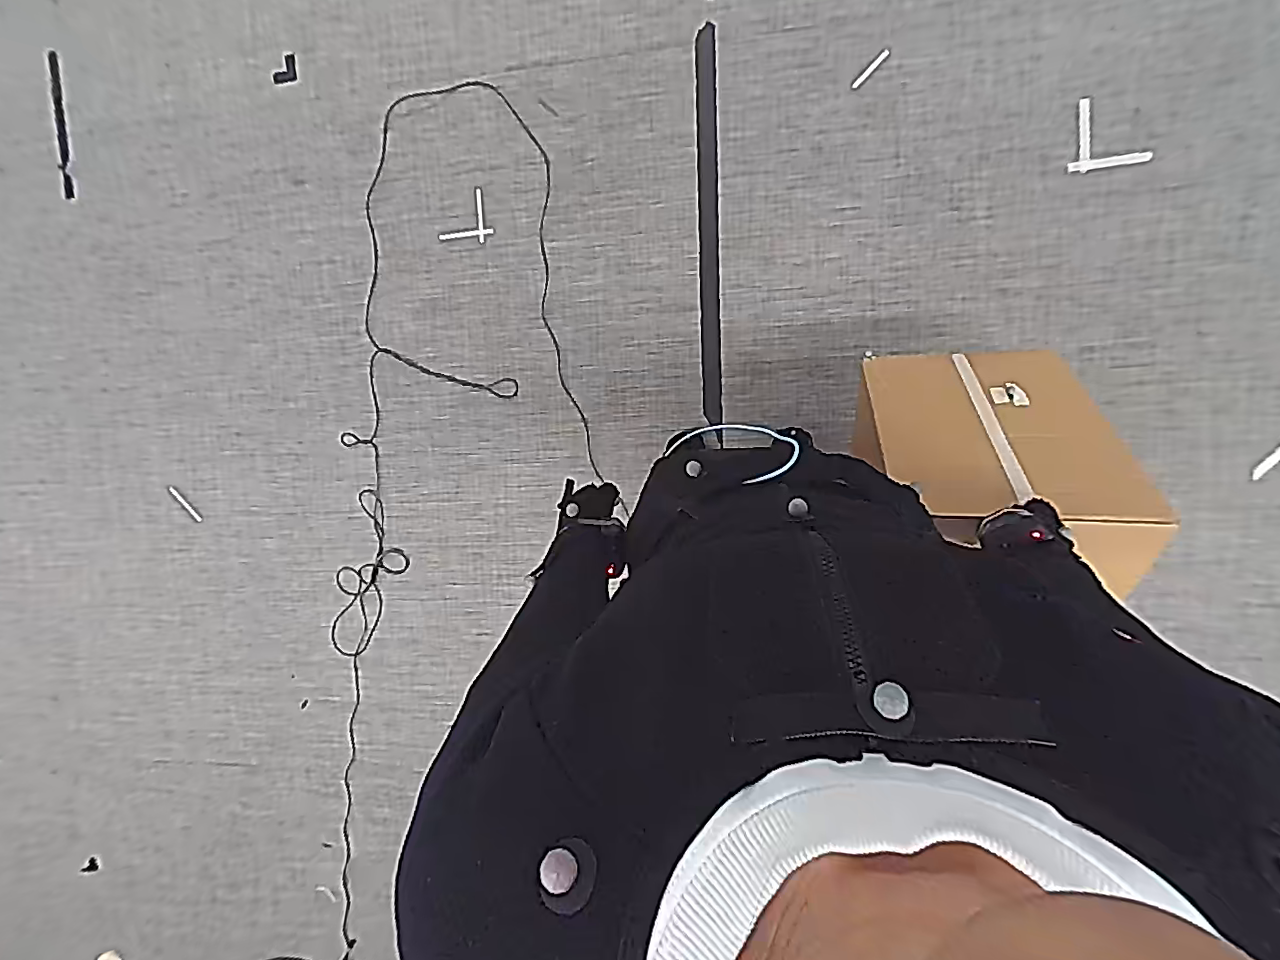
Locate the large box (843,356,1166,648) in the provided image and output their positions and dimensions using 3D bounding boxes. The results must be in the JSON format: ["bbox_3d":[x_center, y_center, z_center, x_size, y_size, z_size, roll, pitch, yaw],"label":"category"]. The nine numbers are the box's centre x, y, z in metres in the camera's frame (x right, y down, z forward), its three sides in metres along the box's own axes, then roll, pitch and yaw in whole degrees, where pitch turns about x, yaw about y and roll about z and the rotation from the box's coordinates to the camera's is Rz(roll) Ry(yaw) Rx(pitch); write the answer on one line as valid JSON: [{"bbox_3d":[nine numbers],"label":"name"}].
[{"bbox_3d":[0.543,0.029,0.925,0.320,0.408,0.320,1,132,12],"label":"large box"}]
